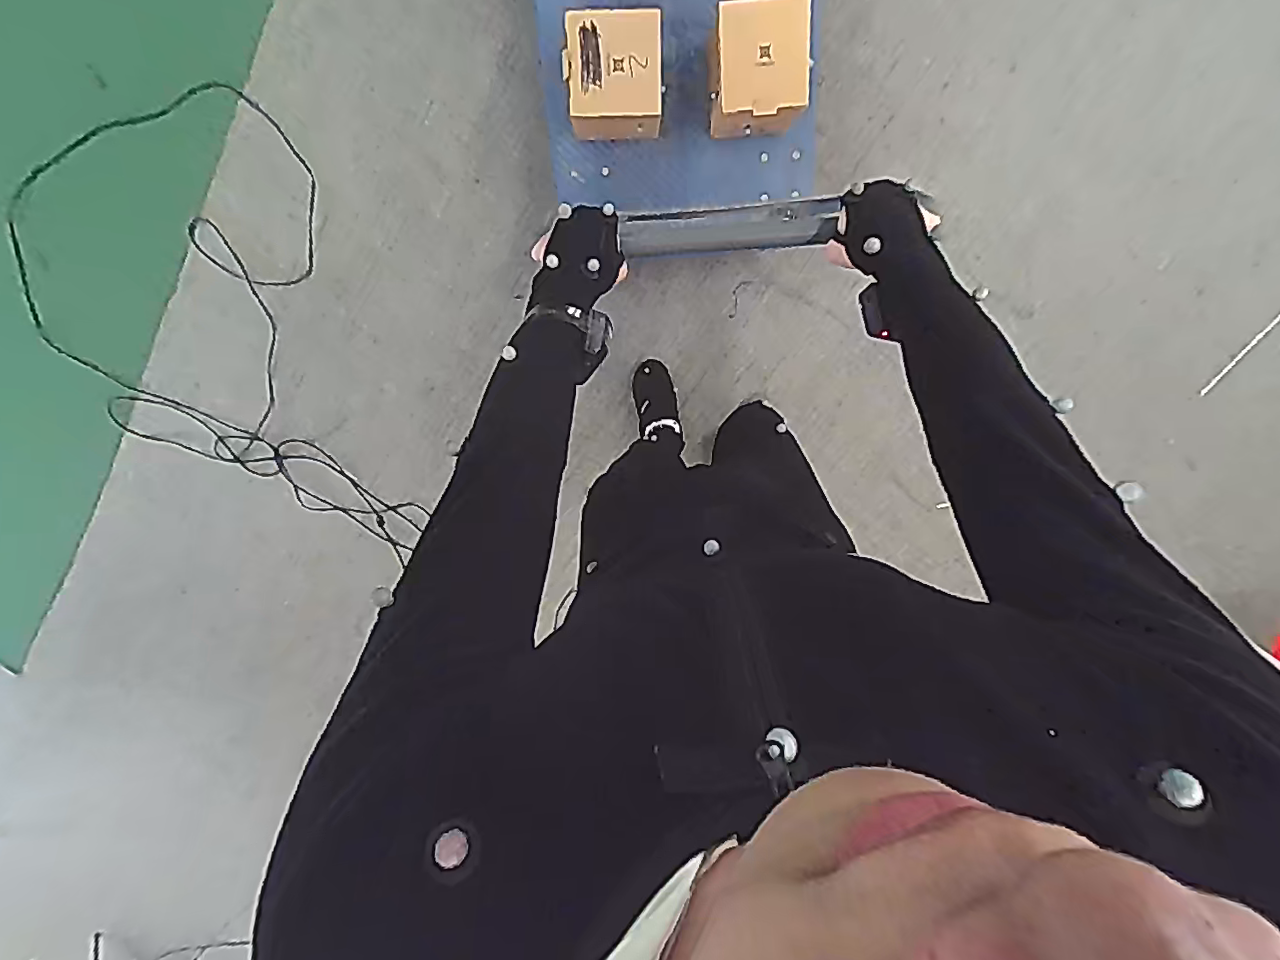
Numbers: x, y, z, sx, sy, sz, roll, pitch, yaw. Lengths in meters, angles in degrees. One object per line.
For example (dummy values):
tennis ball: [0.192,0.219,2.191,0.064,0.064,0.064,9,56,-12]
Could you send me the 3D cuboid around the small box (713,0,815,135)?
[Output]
small box: [0.235,-0.804,1.059,0.168,0.176,0.179,-4,110,2]
